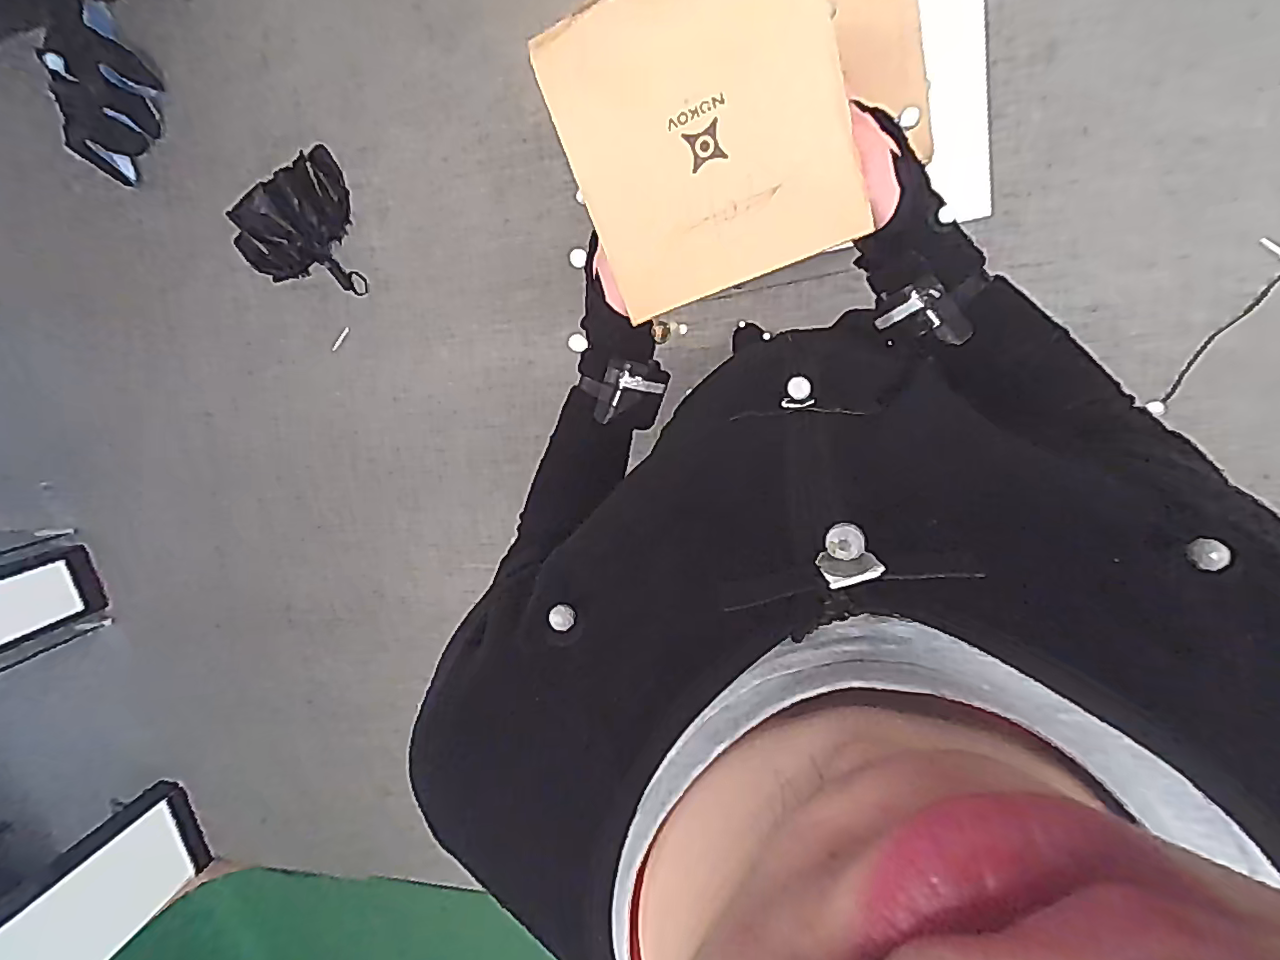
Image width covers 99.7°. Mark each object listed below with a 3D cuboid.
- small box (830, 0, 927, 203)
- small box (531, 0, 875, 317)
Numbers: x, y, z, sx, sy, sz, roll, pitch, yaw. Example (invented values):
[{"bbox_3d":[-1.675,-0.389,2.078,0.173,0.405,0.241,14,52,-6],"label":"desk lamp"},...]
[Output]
[{"bbox_3d":[0.189,-0.385,0.576,0.168,0.176,0.179,-10,101,16],"label":"small box"},{"bbox_3d":[0.052,-0.242,0.394,0.168,0.176,0.179,-17,113,19],"label":"small box"}]
